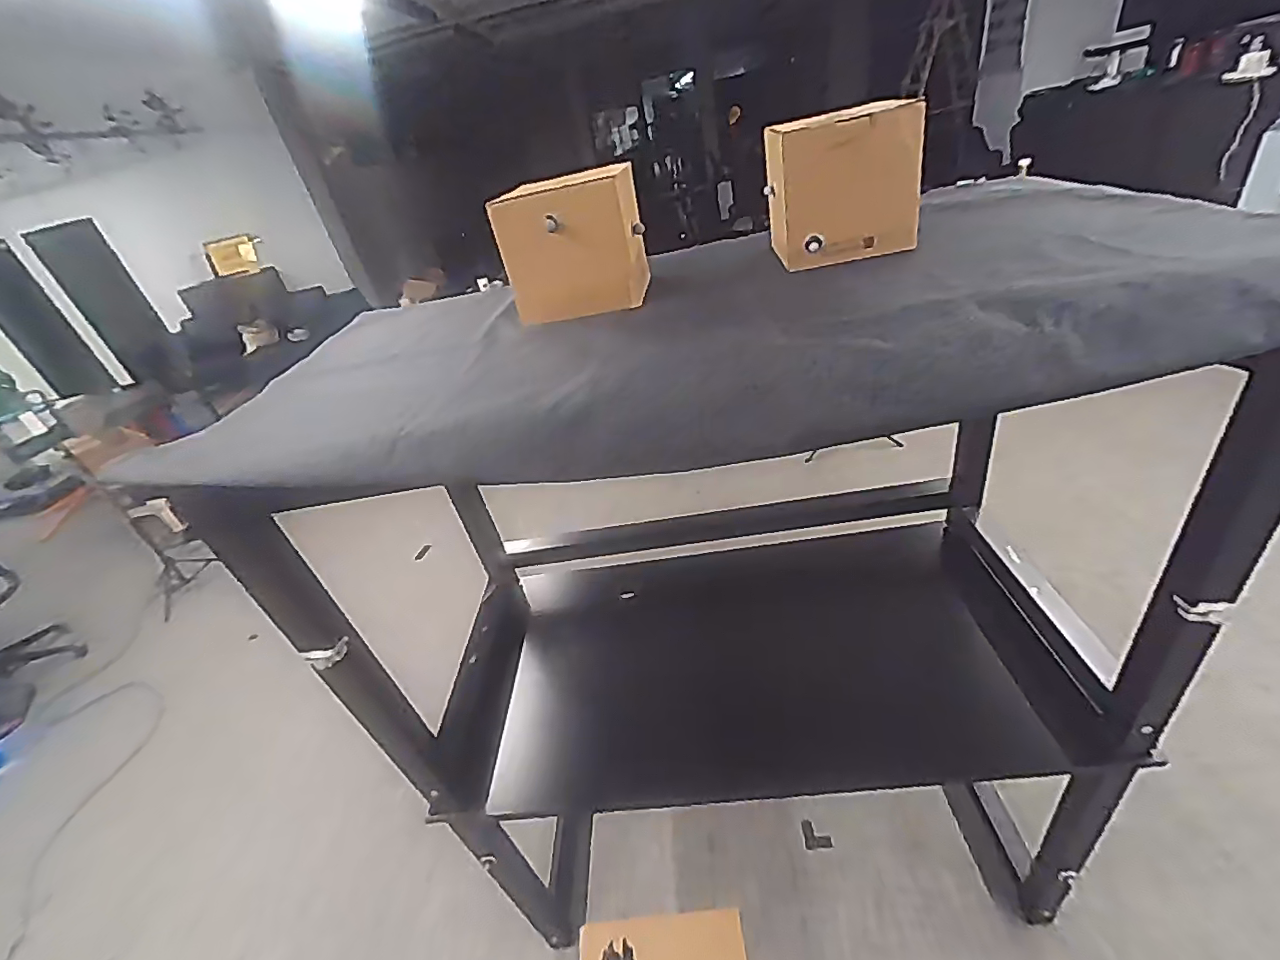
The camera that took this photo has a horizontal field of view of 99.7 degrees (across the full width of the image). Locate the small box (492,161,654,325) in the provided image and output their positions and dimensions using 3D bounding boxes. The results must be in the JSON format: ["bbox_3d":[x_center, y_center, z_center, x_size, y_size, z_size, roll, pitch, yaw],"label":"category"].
[{"bbox_3d":[-0.081,-0.340,0.780,0.179,0.176,0.168,-6,34,12],"label":"small box"}]

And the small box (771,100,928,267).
[{"bbox_3d":[0.278,-0.405,0.747,0.168,0.176,0.179,-7,33,10],"label":"small box"}]
